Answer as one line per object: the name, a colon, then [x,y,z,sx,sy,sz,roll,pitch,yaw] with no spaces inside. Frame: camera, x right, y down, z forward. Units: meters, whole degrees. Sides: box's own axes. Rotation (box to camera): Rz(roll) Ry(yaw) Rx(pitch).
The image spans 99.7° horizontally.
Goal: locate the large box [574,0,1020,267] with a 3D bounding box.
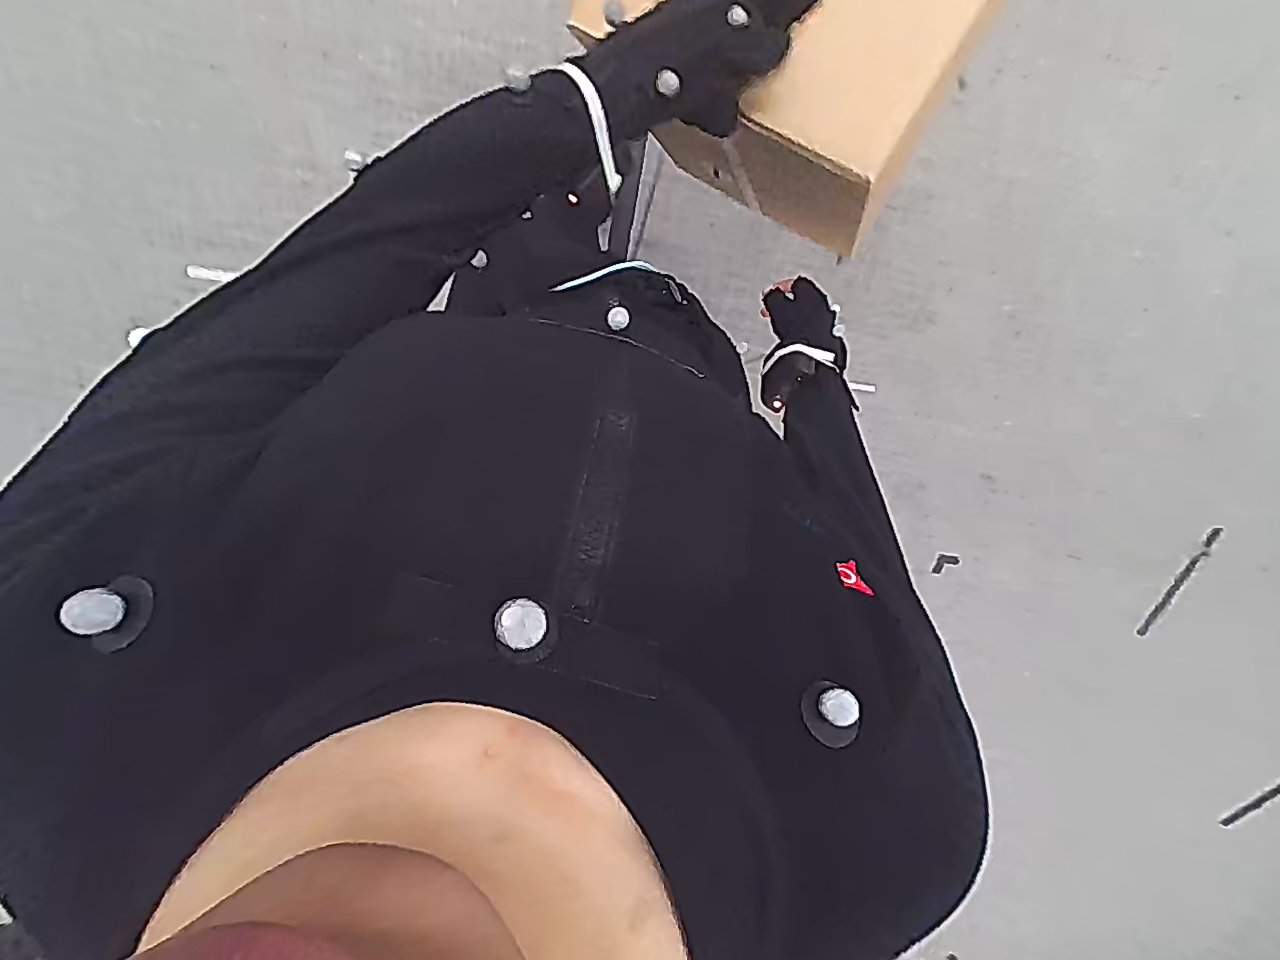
large box: [0.198,-0.484,0.597,0.320,0.408,0.320,37,112,8]
